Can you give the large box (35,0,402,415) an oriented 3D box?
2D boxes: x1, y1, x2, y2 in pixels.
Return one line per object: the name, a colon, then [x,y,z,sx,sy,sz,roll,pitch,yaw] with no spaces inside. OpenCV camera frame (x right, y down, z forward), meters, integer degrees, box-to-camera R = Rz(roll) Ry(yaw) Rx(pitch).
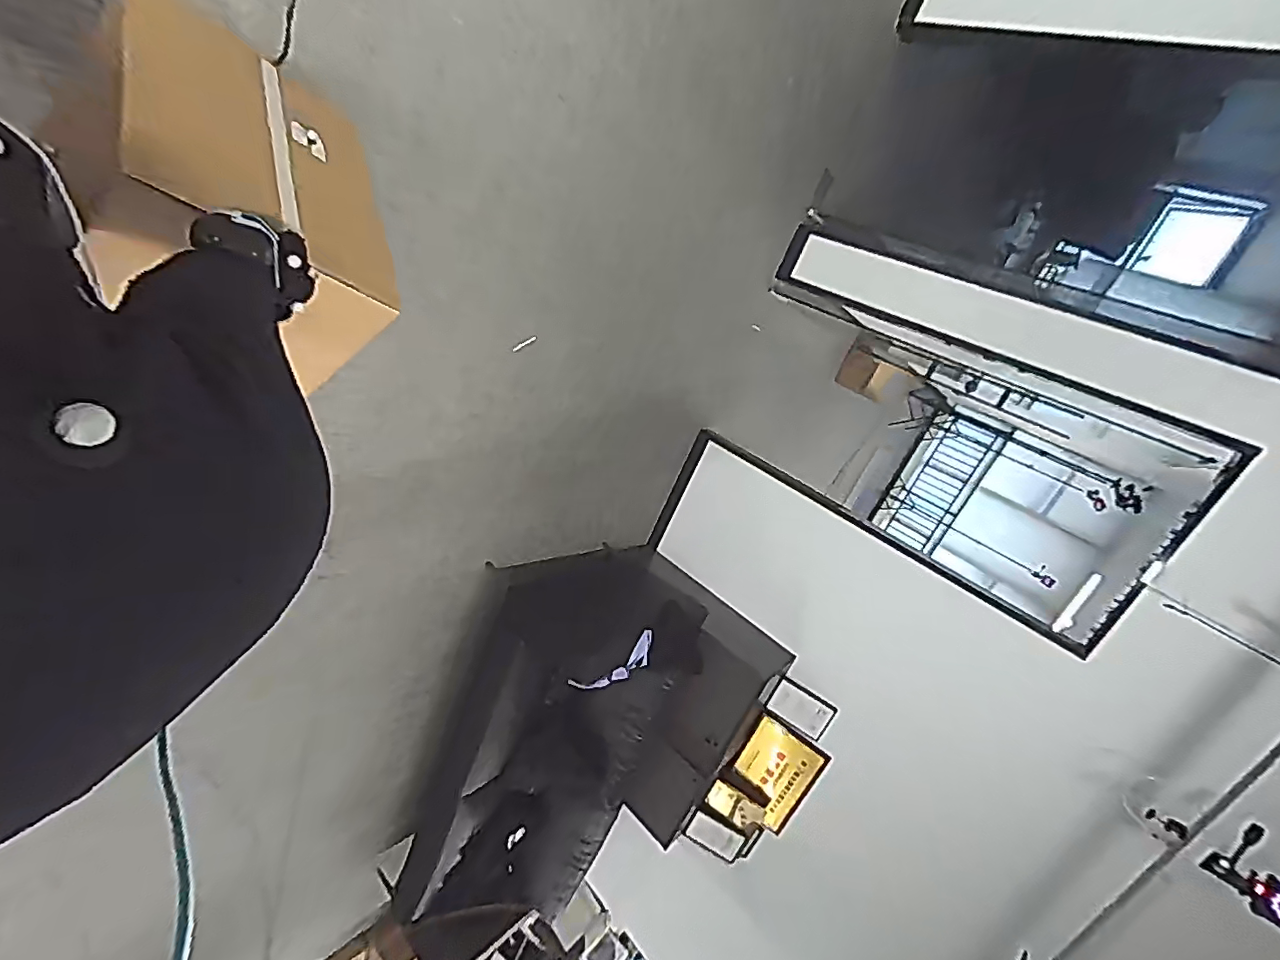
large box: [-0.612,-0.366,0.795,0.320,0.408,0.320,-31,157,21]
